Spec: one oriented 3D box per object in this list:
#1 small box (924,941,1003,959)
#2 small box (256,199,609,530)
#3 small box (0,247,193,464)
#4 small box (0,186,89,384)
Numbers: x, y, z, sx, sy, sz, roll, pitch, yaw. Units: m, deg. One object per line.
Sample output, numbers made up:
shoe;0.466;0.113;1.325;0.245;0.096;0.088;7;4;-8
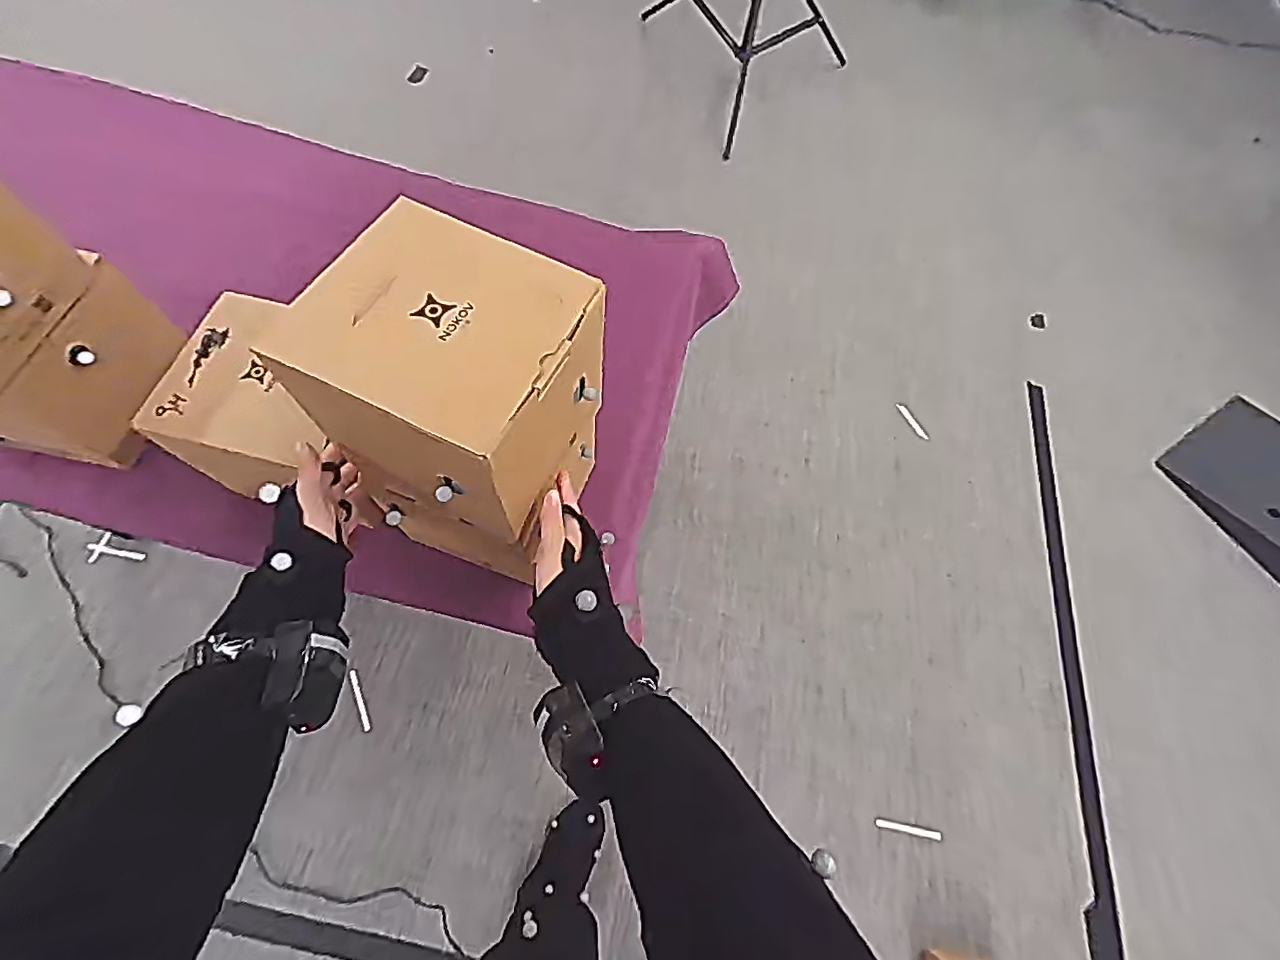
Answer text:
small box;0.666;1.025;1.031;0.168;0.176;0.179;12;67;-1
small box;-0.138;-0.078;0.436;0.179;0.176;0.168;24;64;6
small box;-0.648;-0.136;0.586;0.168;0.176;0.179;11;66;-2
small box;-0.631;-0.187;0.429;0.179;0.176;0.168;14;67;-1
